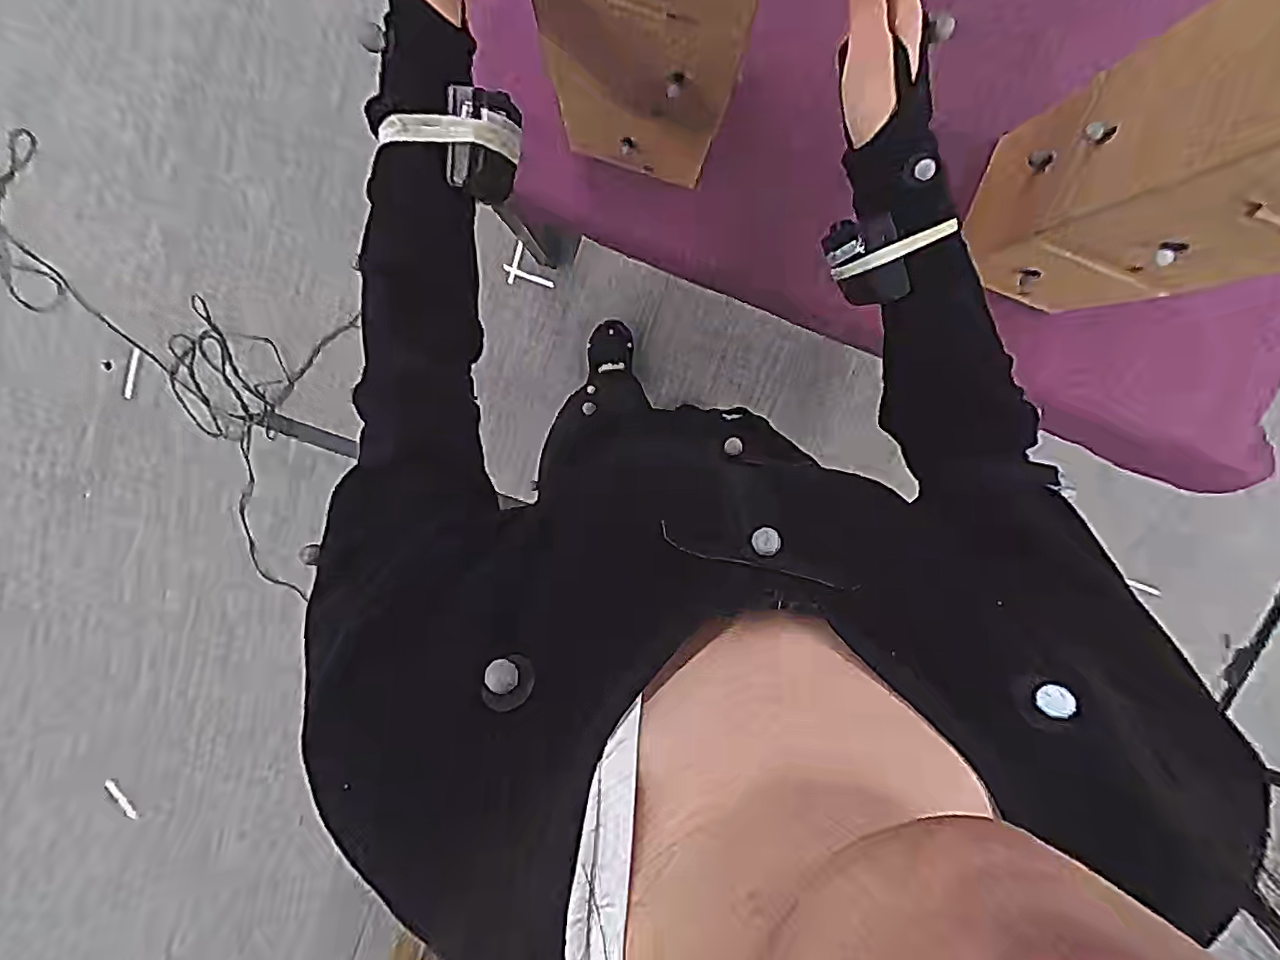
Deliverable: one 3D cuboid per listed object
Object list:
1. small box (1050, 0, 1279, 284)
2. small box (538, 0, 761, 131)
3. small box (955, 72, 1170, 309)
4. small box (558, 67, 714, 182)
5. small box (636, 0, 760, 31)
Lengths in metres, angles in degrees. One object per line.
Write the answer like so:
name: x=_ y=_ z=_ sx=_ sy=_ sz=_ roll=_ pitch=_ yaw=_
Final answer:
small box: x=0.520 y=-0.294 z=0.479 sx=0.168 sy=0.176 sz=0.179 roll=20 pitch=99 yaw=-4
small box: x=0.021 y=-0.428 z=0.442 sx=0.168 sy=0.176 sz=0.179 roll=14 pitch=99 yaw=-5
small box: x=0.515 y=-0.318 z=0.640 sx=0.168 sy=0.176 sz=0.179 roll=19 pitch=99 yaw=-4
small box: x=0.018 y=-0.465 z=0.600 sx=0.168 sy=0.176 sz=0.179 roll=15 pitch=99 yaw=-5
small box: x=0.023 y=-0.398 z=0.280 sx=0.168 sy=0.176 sz=0.179 roll=14 pitch=101 yaw=-4
